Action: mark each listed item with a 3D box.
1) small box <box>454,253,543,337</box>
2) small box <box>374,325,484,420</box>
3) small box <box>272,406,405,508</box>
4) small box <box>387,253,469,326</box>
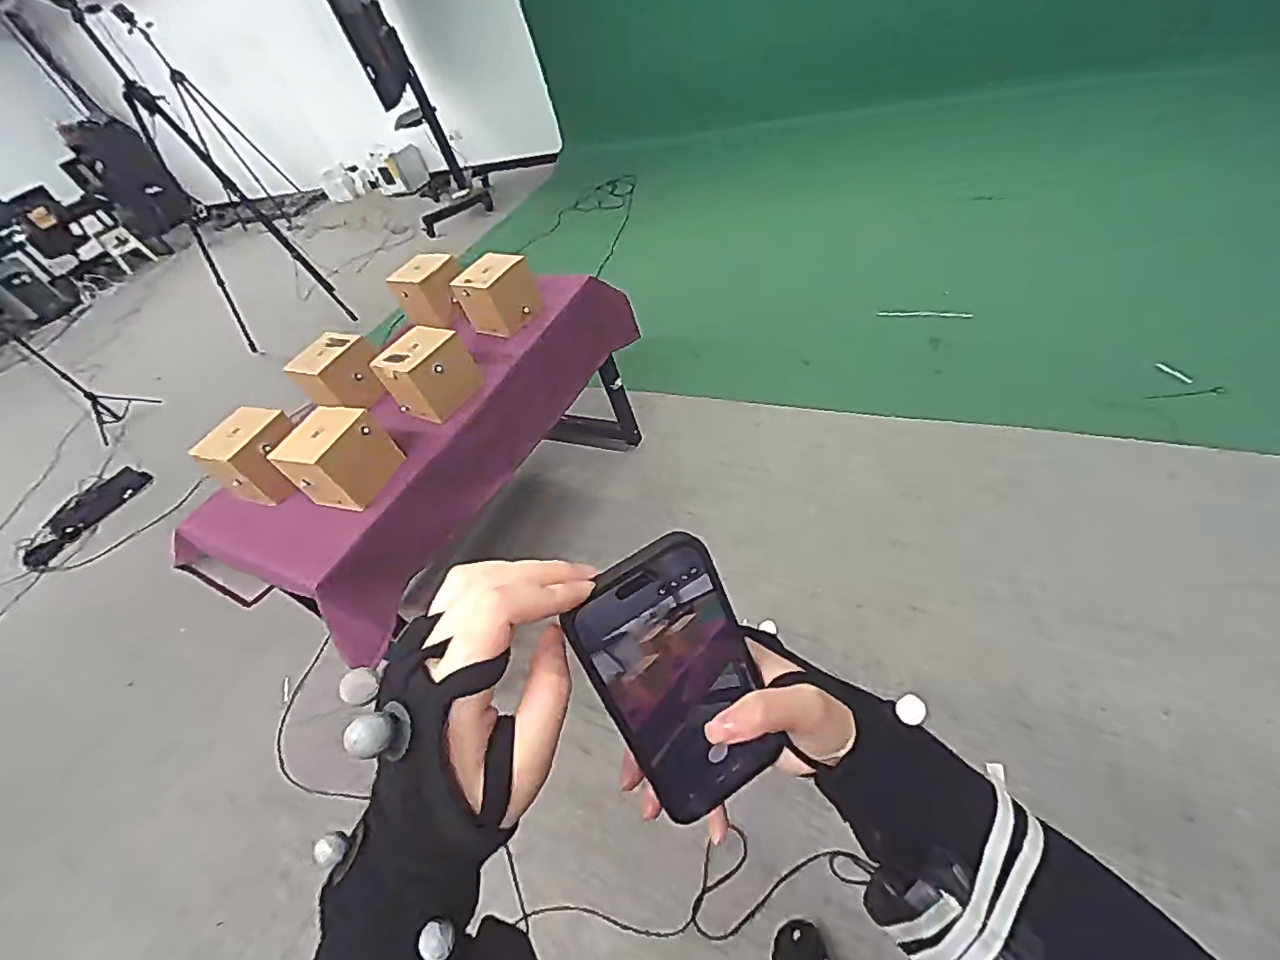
[{"bbox_3d":[-0.417,-0.560,1.630,0.168,0.176,0.179,18,57,32],"label":"small box"},{"bbox_3d":[-0.546,-0.282,1.422,0.168,0.176,0.179,17,56,31],"label":"small box"},{"bbox_3d":[-0.693,-0.053,1.265,0.168,0.176,0.179,6,50,25],"label":"small box"},{"bbox_3d":[-0.681,-0.627,1.785,0.179,0.176,0.168,15,56,29],"label":"small box"}]
